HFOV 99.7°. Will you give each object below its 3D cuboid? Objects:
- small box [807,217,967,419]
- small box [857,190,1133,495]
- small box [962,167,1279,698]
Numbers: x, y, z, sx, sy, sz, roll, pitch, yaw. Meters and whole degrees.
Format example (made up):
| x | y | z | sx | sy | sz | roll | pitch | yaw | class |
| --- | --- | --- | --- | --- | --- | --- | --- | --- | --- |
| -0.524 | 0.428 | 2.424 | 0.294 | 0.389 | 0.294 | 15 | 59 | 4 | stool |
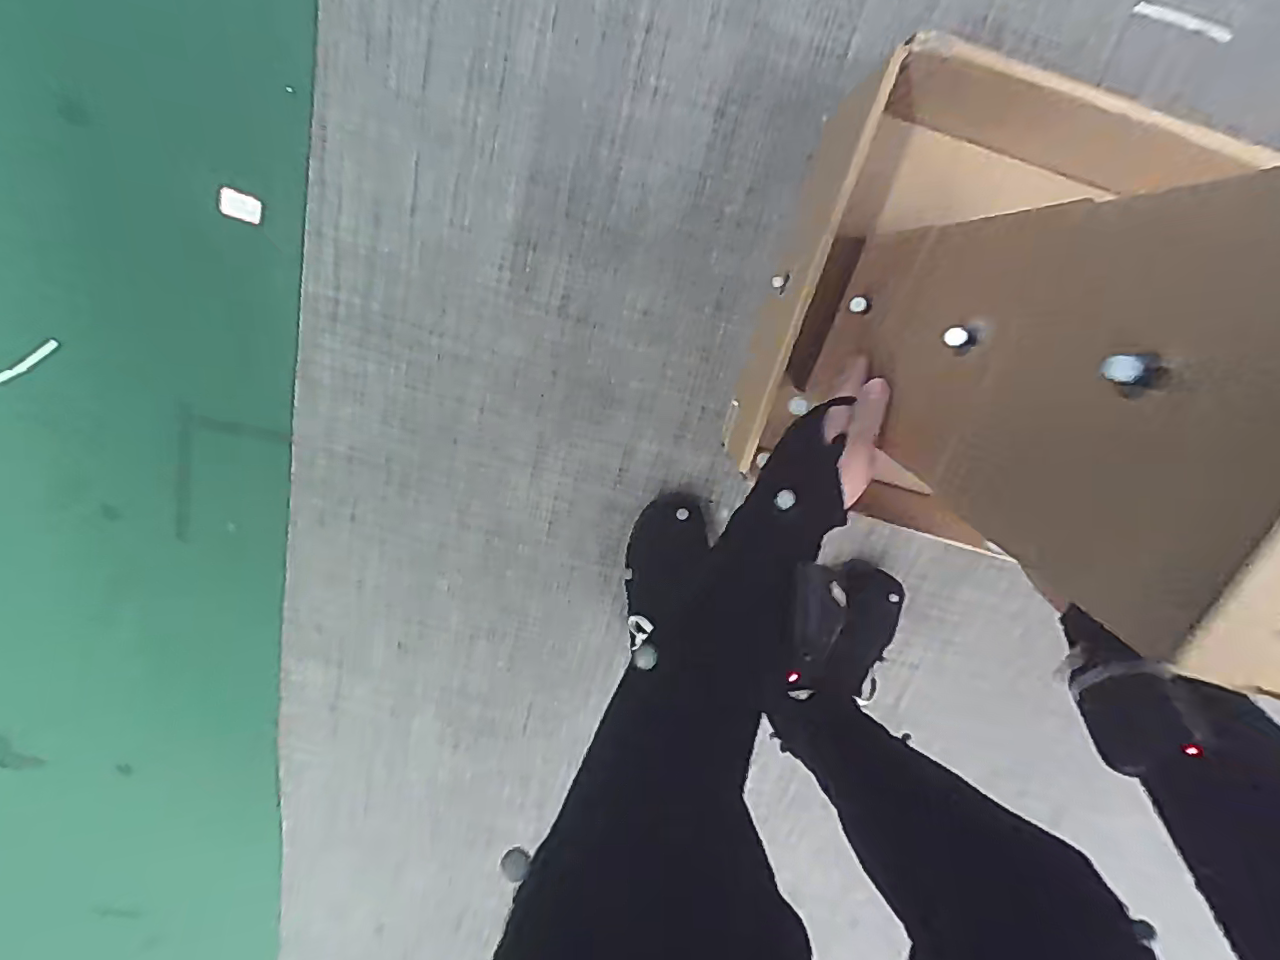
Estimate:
| x | y | z | sx | sy | sz | roll | pitch | yaw | class |
| --- | --- | --- | --- | --- | --- | --- | --- | --- | --- |
| 0.291 | -0.137 | 0.544 | 0.168 | 0.176 | 0.179 | 17 | 109 | -6 | small box |
| 0.288 | -0.078 | 0.392 | 0.168 | 0.176 | 0.179 | 17 | 110 | -6 | small box |
| 0.285 | -0.019 | 0.239 | 0.168 | 0.176 | 0.179 | 16 | 109 | -5 | small box |
